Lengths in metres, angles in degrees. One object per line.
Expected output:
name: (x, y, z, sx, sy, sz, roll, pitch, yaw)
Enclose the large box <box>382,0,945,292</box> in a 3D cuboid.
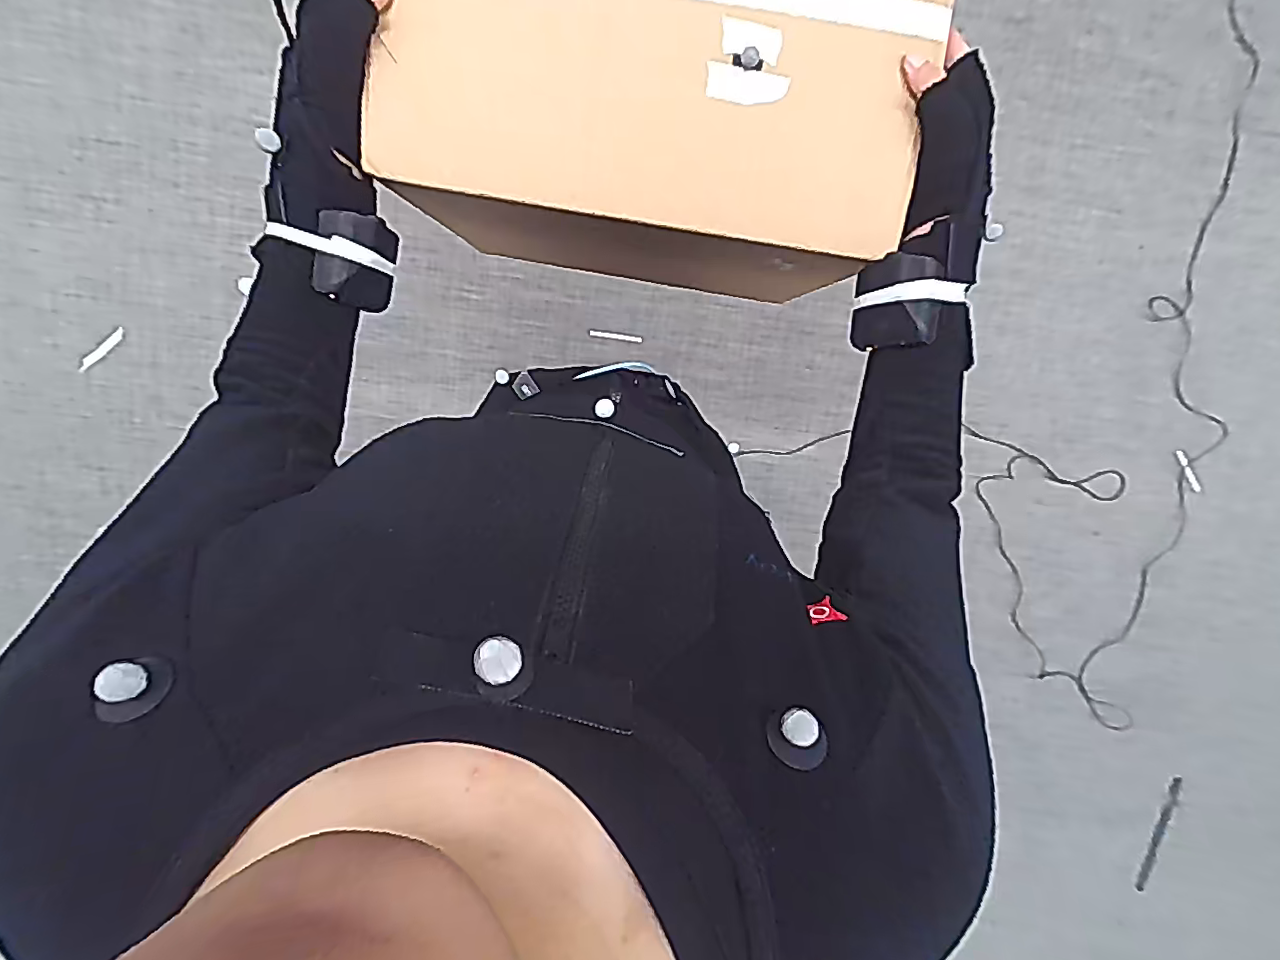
large box: (0.016, -0.386, 0.529, 0.408, 0.320, 0.320, 8, 103, -3)
